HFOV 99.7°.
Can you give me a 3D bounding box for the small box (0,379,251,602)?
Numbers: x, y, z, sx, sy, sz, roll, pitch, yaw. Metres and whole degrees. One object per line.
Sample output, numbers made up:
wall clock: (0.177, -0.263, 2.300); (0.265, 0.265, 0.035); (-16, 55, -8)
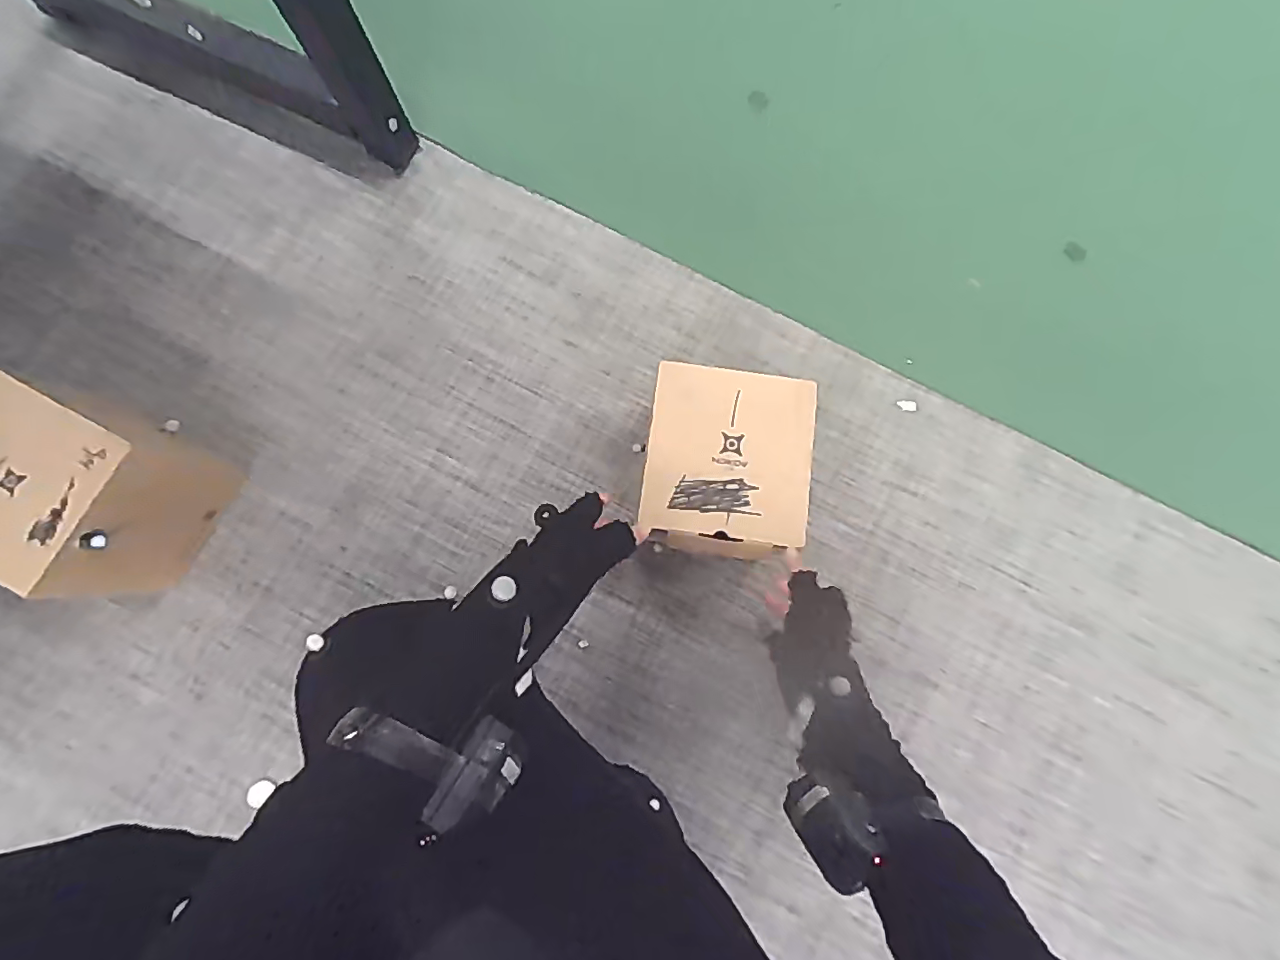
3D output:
small box: (-0.598, 0.020, 0.598); (0.179, 0.176, 0.168); (27, 82, 5)
